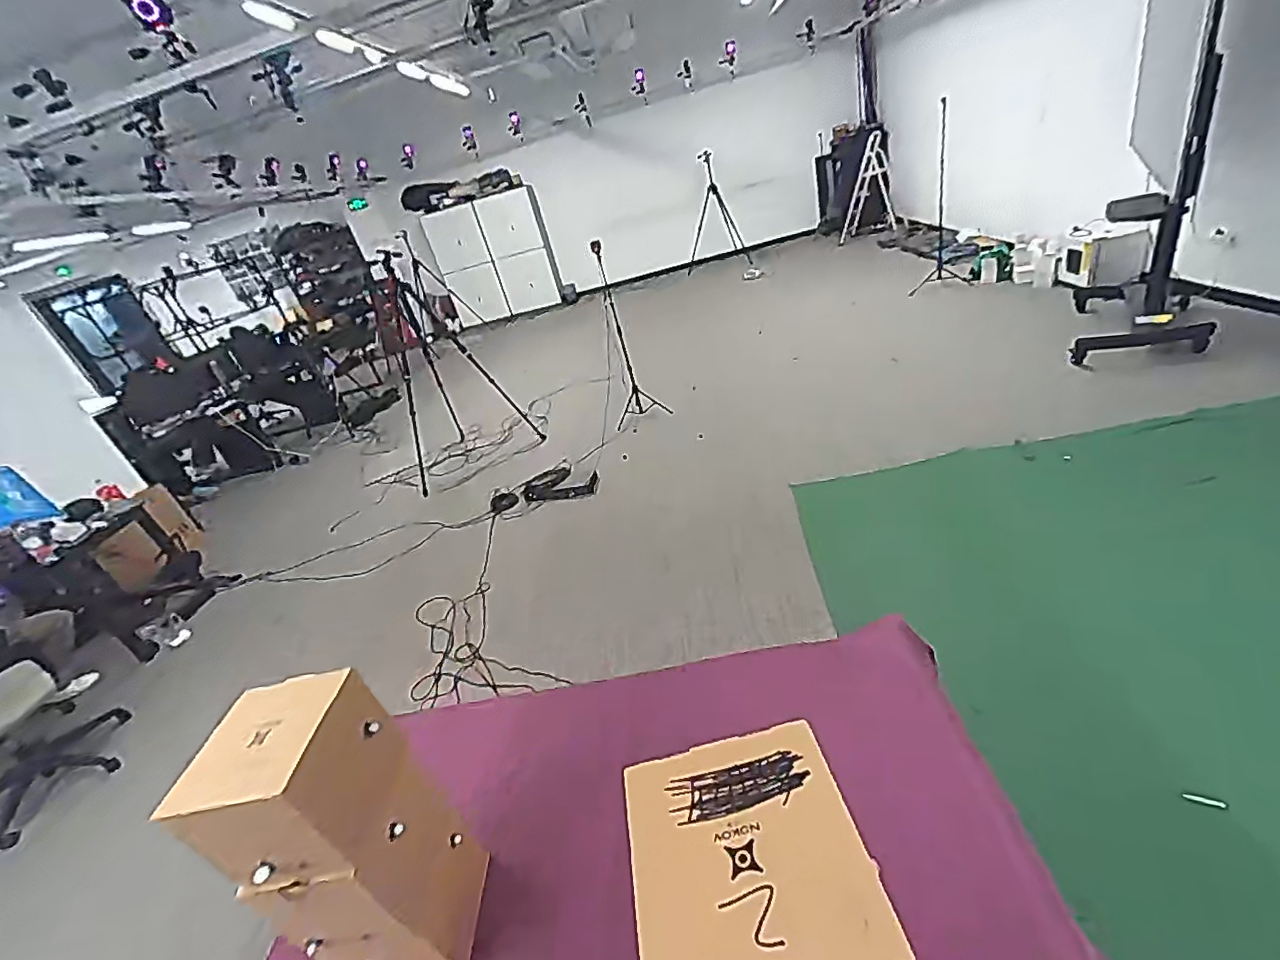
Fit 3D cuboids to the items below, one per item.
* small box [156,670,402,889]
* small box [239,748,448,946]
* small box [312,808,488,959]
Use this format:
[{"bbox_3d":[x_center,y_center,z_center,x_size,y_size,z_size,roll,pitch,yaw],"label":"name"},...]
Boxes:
[{"bbox_3d":[-0.438,0.381,0.697,0.168,0.176,0.179,-14,29,7],"label":"small box"},{"bbox_3d":[-0.399,0.522,0.768,0.168,0.176,0.179,-13,28,7],"label":"small box"},{"bbox_3d":[-0.357,0.660,0.848,0.168,0.176,0.179,-14,28,6],"label":"small box"}]
